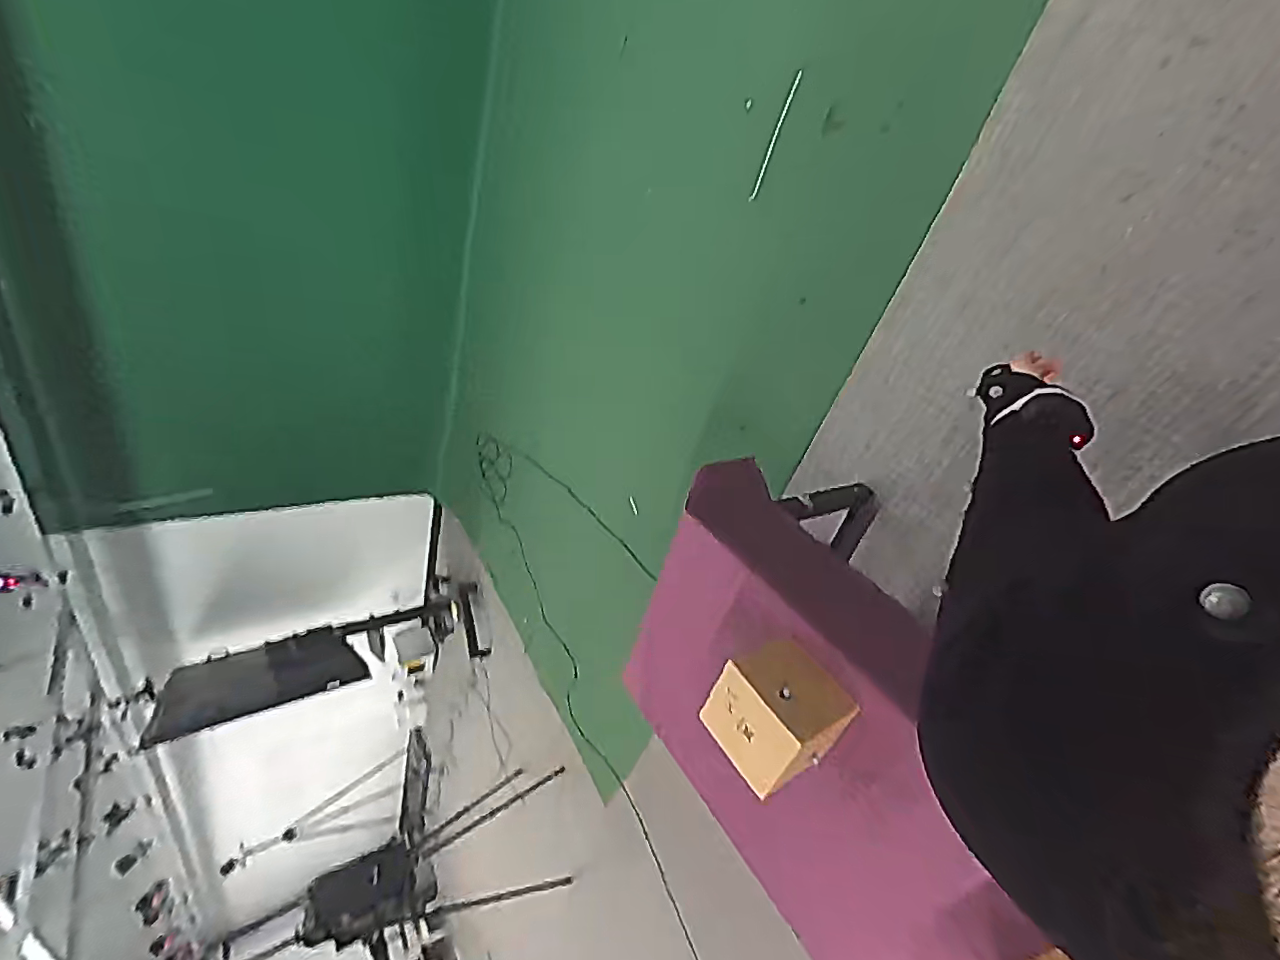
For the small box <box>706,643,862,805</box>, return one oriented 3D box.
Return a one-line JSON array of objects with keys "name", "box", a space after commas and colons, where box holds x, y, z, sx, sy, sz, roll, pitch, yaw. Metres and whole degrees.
[{"name": "small box", "box": [0.255, 0.421, 0.962, 0.179, 0.176, 0.168, 45, 129, 38]}]
